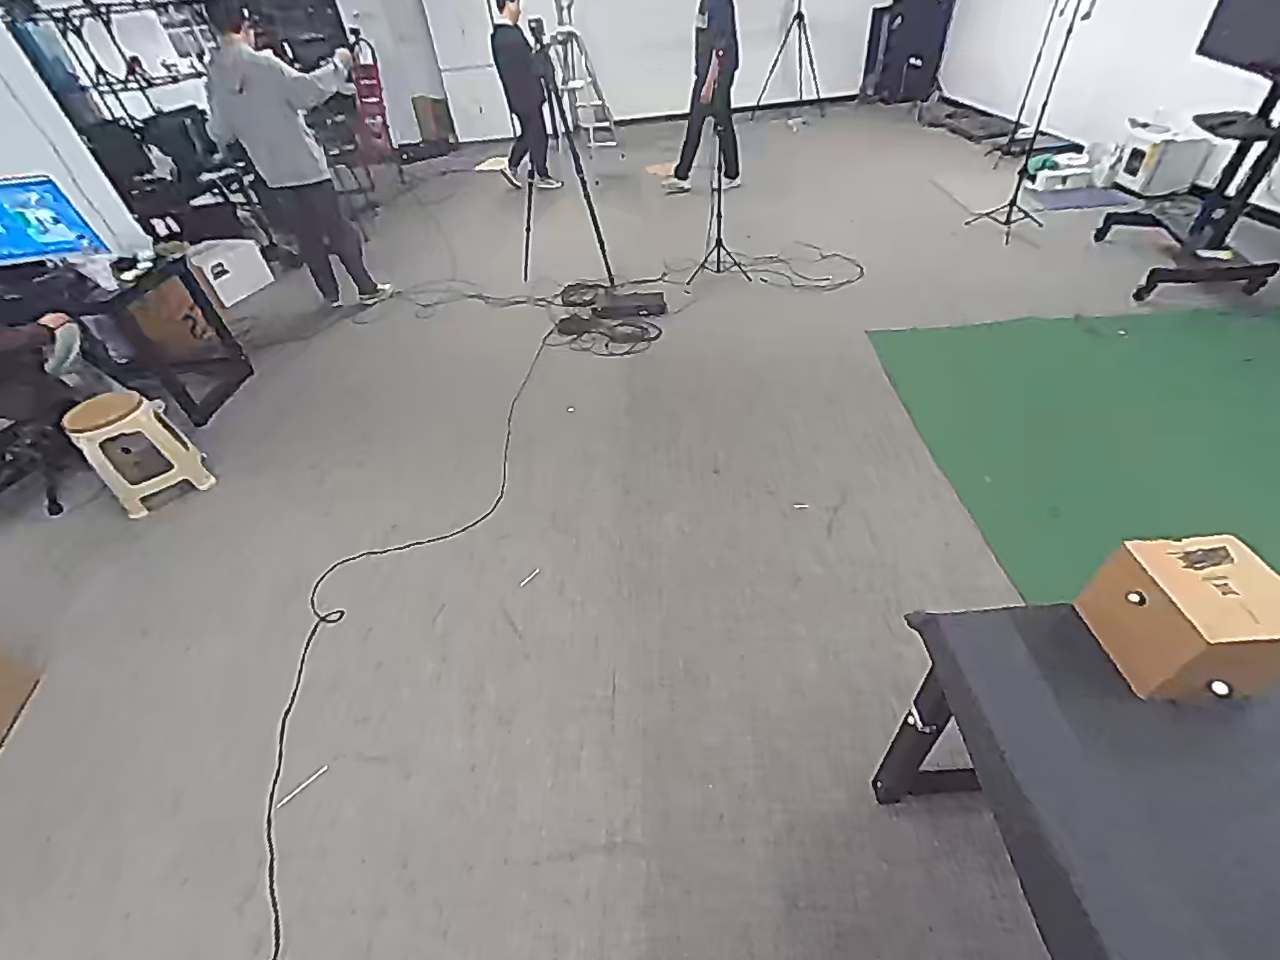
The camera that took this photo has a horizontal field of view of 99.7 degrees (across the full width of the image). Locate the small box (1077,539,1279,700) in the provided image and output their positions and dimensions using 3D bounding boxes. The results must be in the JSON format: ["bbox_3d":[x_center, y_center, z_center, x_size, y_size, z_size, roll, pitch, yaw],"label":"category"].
[{"bbox_3d":[0.824,0.210,0.819,0.168,0.176,0.179,-3,44,2],"label":"small box"}]
